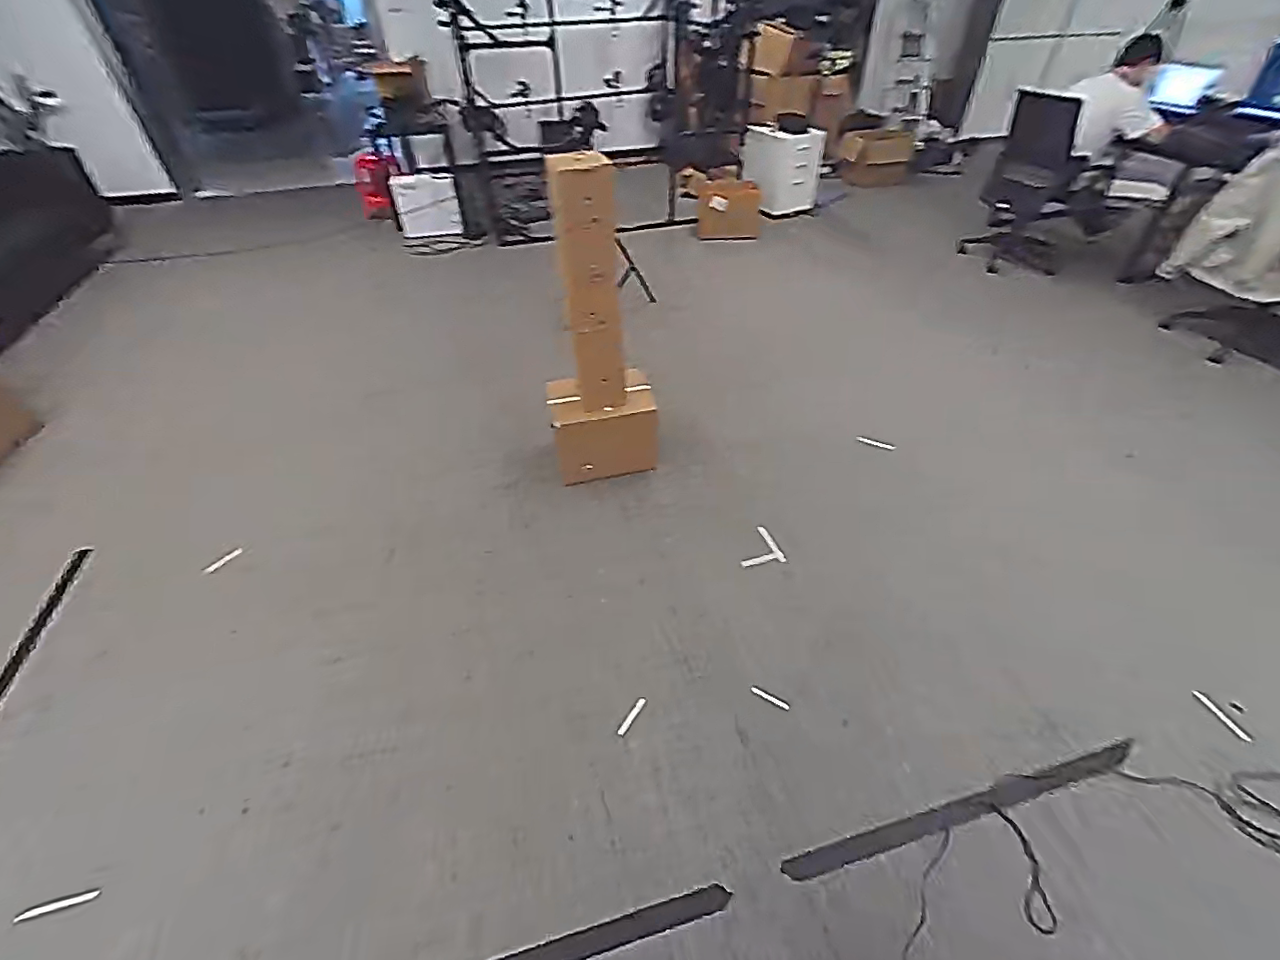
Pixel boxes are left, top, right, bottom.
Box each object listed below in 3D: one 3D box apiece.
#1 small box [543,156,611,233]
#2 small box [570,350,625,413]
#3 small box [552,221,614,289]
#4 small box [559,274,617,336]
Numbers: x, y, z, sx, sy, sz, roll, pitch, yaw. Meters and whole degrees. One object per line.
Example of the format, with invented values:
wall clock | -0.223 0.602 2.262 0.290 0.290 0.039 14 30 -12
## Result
small box | -0.189 -0.865 1.646 0.168 0.176 0.179 -13 45 -13
small box | -0.162 -0.374 2.080 0.179 0.176 0.168 -12 45 -12
small box | -0.185 -0.742 1.754 0.168 0.176 0.179 -13 45 -12
small box | -0.180 -0.619 1.864 0.168 0.176 0.179 -12 45 -11
